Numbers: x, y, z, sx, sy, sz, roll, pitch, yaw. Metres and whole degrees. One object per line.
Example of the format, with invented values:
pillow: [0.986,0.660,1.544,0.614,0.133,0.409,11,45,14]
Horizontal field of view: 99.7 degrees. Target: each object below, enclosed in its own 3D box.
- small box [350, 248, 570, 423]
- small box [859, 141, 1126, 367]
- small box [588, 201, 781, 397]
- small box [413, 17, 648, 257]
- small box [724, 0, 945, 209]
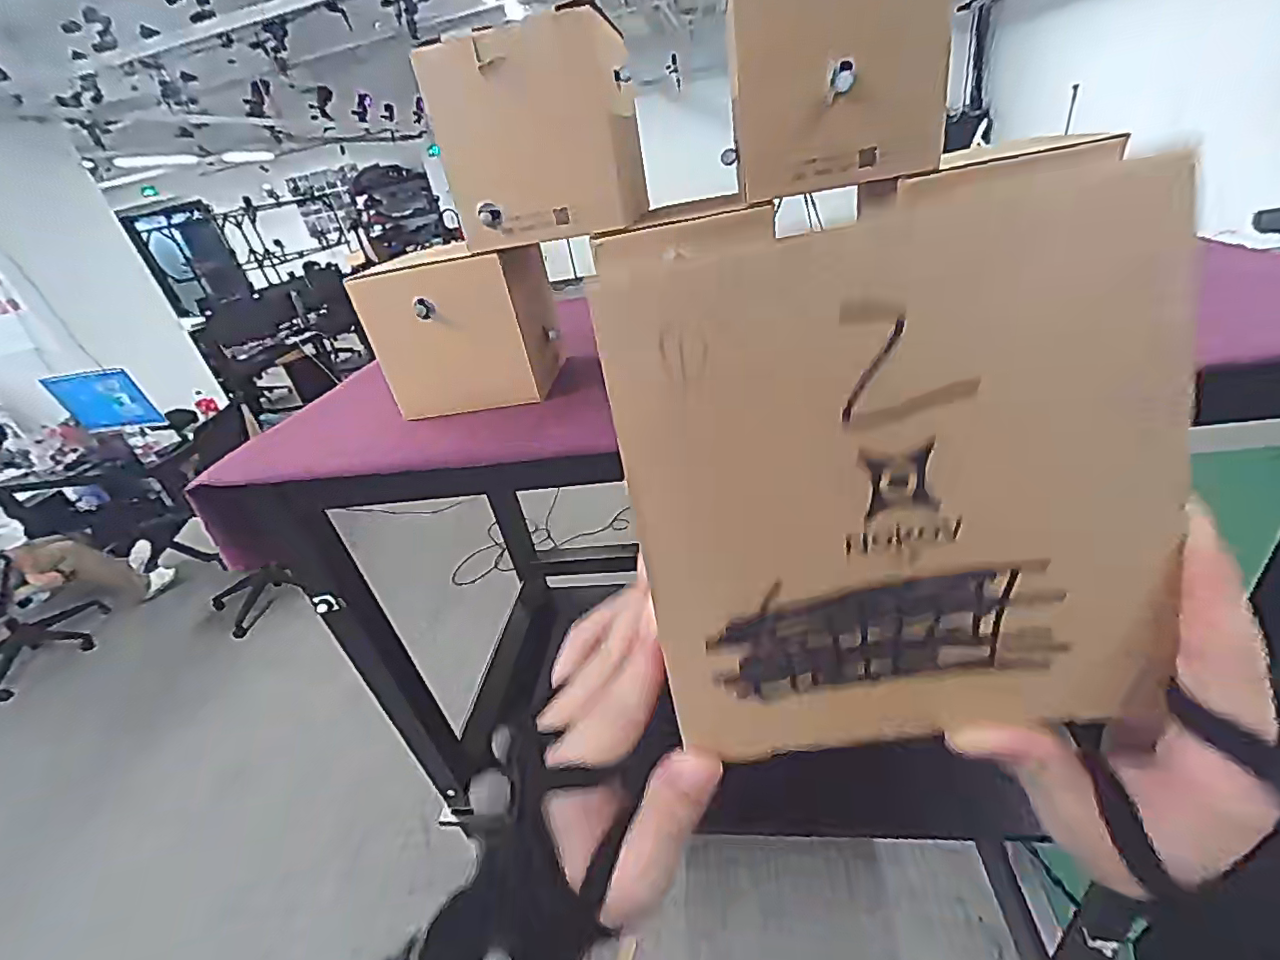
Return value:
small box: [-0.202,-0.182,0.664,0.179,0.176,0.168,-7,31,10]
small box: [0.331,-0.230,0.554,0.179,0.176,0.168,-7,30,12]
small box: [0.059,-0.201,0.605,0.179,0.176,0.168,-5,31,11]
small box: [-0.092,-0.336,0.559,0.168,0.176,0.179,-4,30,12]
small box: [0.170,-0.360,0.506,0.168,0.176,0.179,-6,31,11]
